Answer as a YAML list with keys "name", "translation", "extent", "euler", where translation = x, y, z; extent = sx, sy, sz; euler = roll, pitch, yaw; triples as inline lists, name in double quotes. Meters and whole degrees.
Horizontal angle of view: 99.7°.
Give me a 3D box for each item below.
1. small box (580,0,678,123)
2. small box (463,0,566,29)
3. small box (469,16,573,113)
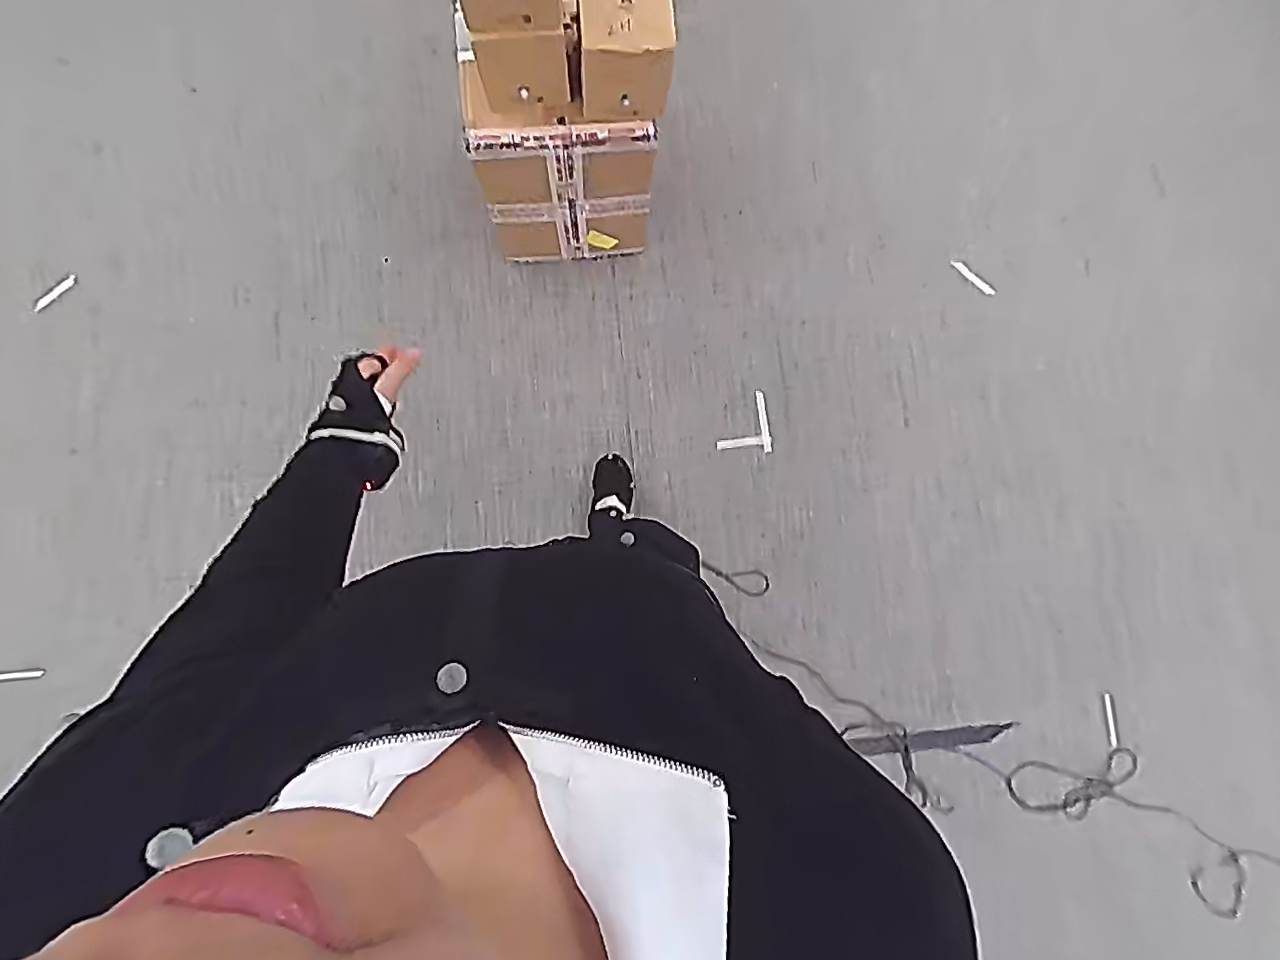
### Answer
- name: "small box"
  translation: [-0.027, -0.820, 1.024]
  extent: [0.168, 0.176, 0.179]
  euler: [-5, 86, -5]
- name: "small box"
  translation: [-0.211, -0.856, 0.850]
  extent: [0.168, 0.176, 0.179]
  euler: [-5, 88, -3]
- name: "small box"
  translation: [-0.220, -0.834, 1.013]
  extent: [0.168, 0.176, 0.179]
  euler: [-7, 88, -3]
